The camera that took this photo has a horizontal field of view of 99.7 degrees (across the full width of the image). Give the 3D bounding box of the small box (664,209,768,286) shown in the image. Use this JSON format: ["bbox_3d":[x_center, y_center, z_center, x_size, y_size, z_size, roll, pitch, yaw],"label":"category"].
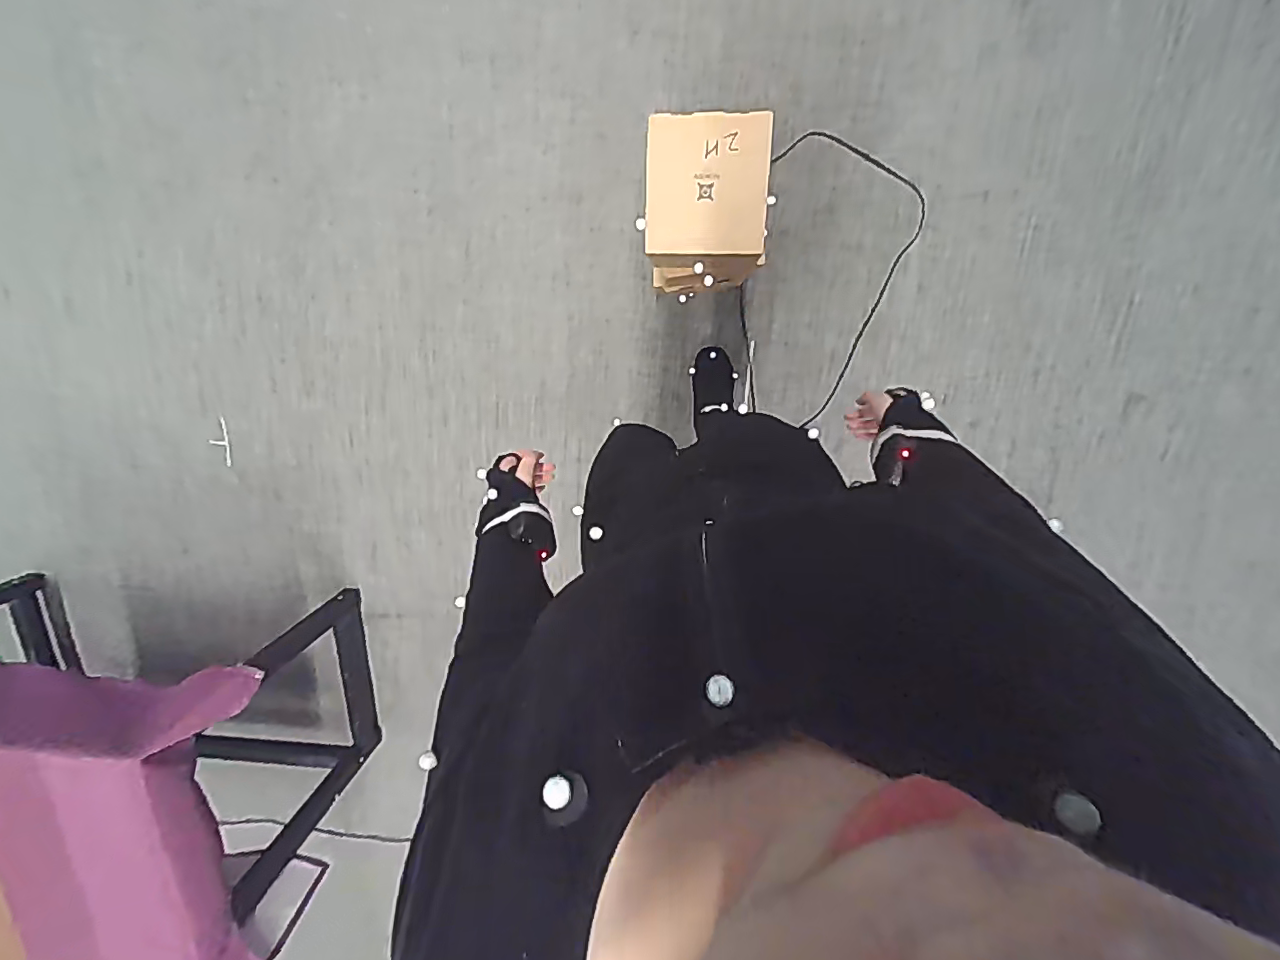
[{"bbox_3d":[0.130,-0.451,0.973,0.179,0.176,0.168,-5,104,9],"label":"small box"}]

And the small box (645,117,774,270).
[{"bbox_3d":[0.102,-0.418,0.814,0.168,0.176,0.179,4,105,6],"label":"small box"}]

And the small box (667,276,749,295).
[{"bbox_3d":[0.134,-0.491,1.132,0.168,0.176,0.179,-8,103,9],"label":"small box"}]
